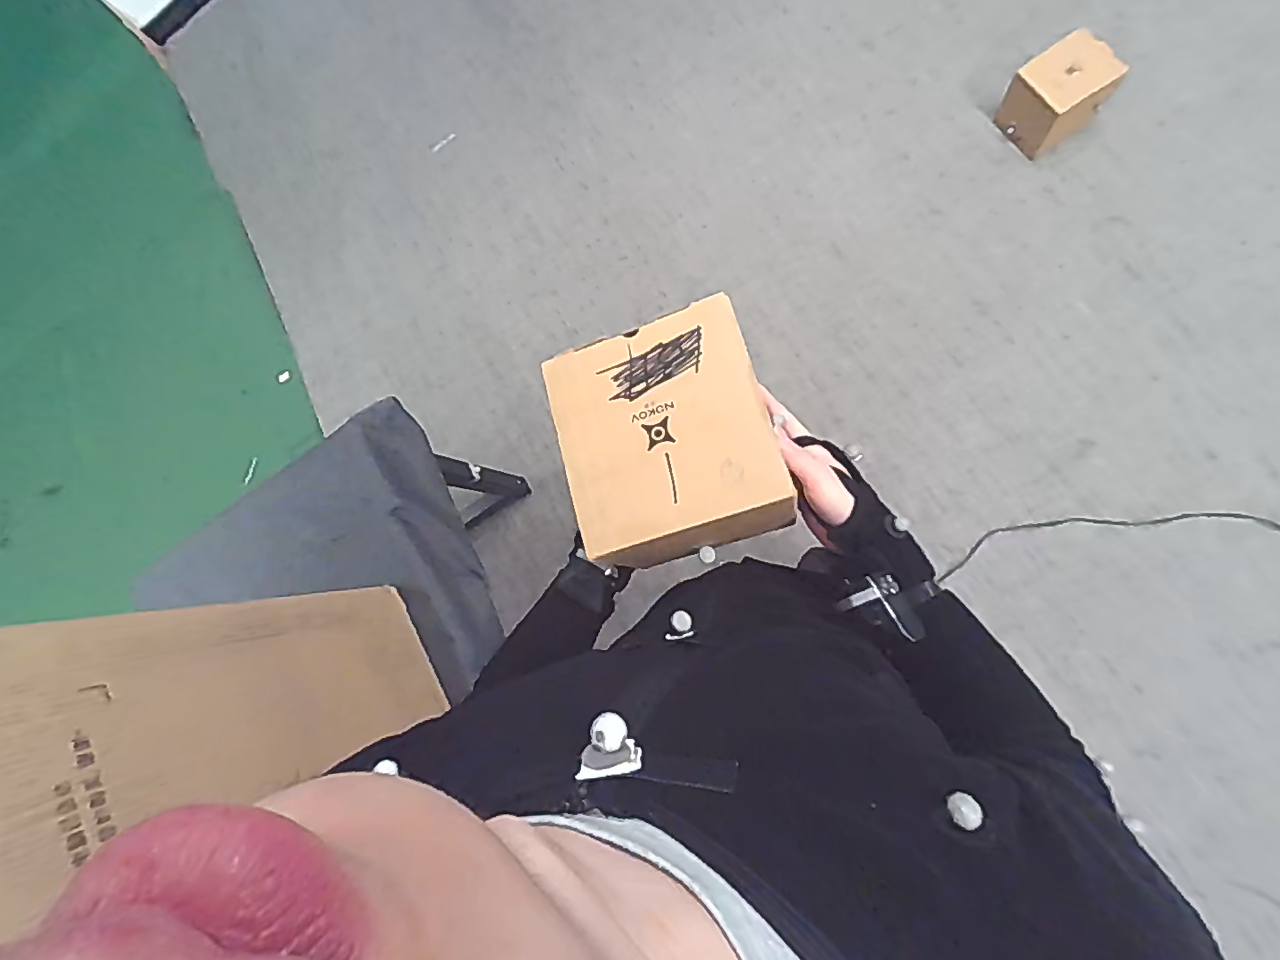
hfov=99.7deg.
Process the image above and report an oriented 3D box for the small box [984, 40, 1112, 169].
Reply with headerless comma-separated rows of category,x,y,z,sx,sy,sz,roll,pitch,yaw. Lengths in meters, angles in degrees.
small box,1.046,-0.965,1.405,0.179,0.176,0.168,-33,75,9
